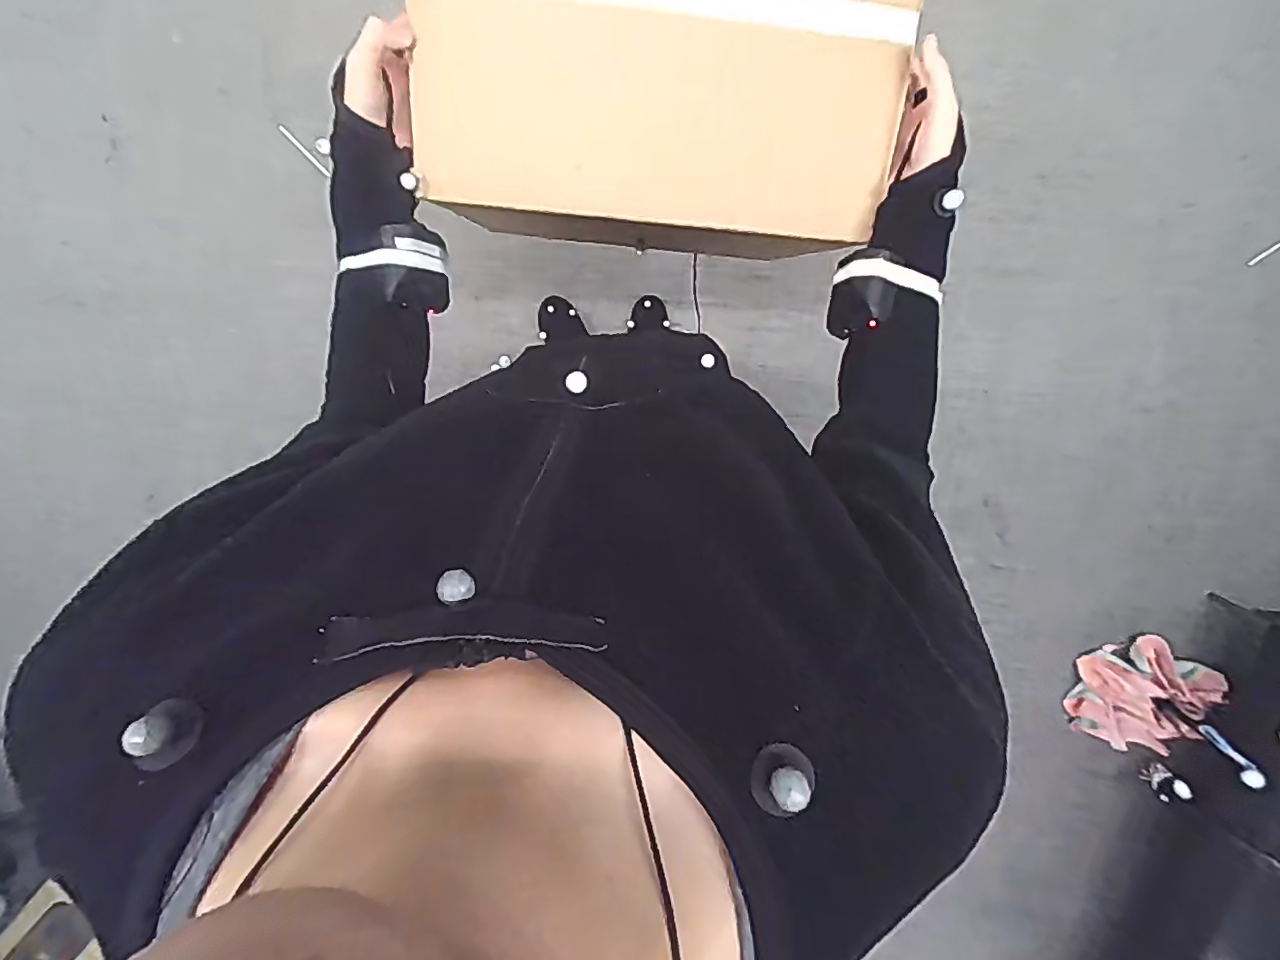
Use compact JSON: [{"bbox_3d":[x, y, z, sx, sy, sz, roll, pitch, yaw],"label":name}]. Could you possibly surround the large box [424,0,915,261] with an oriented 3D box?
[{"bbox_3d":[0.020,-0.418,0.581,0.408,0.320,0.320,4,108,-4],"label":"large box"}]
